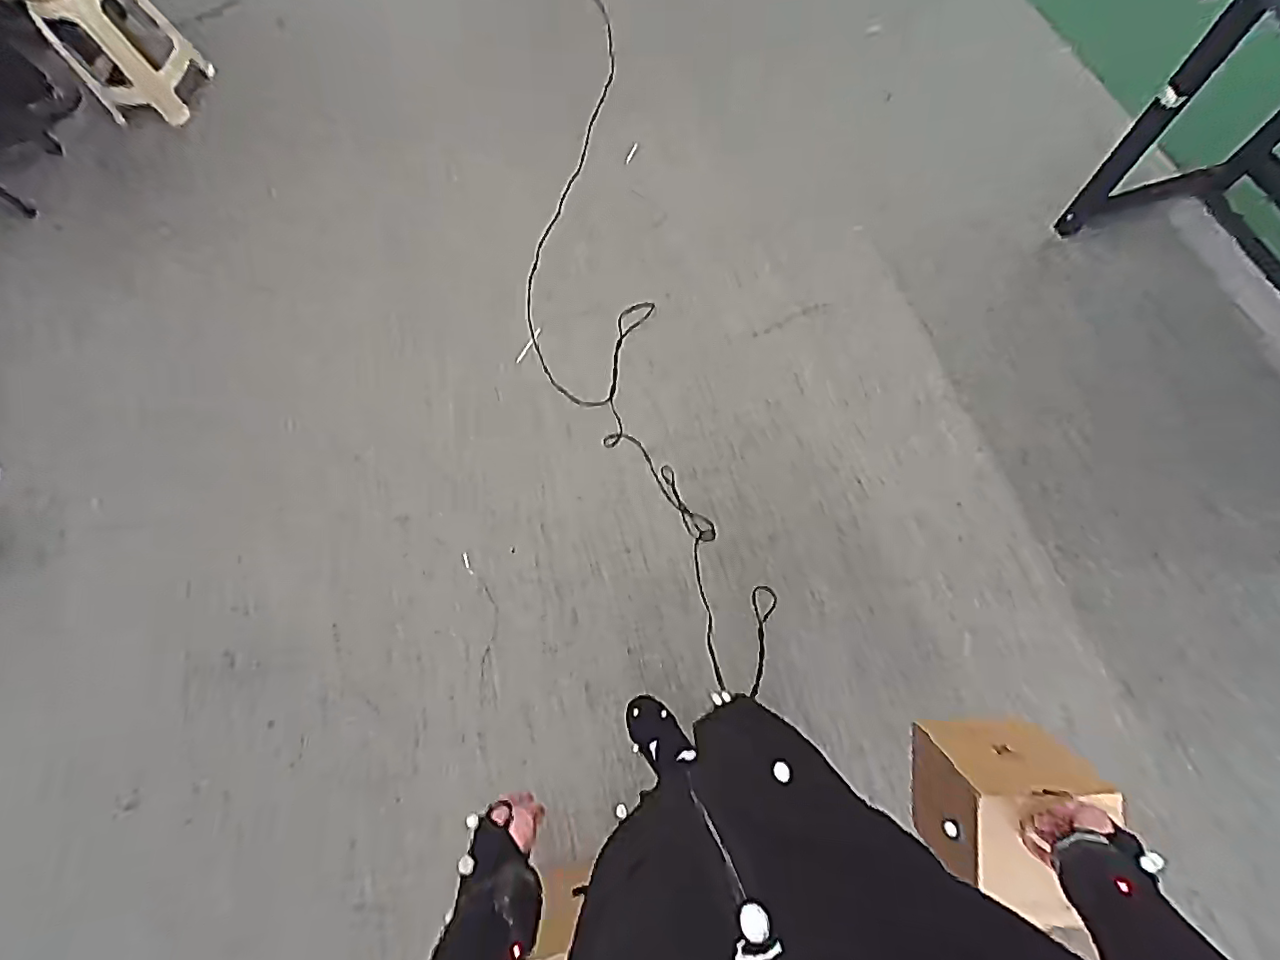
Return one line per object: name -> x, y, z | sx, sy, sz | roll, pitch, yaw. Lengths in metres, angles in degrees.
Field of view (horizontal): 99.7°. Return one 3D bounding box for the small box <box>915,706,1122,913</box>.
small box -> 0.482, 0.421, 0.712 | 0.168, 0.179, 0.176 | -1, 95, 6
